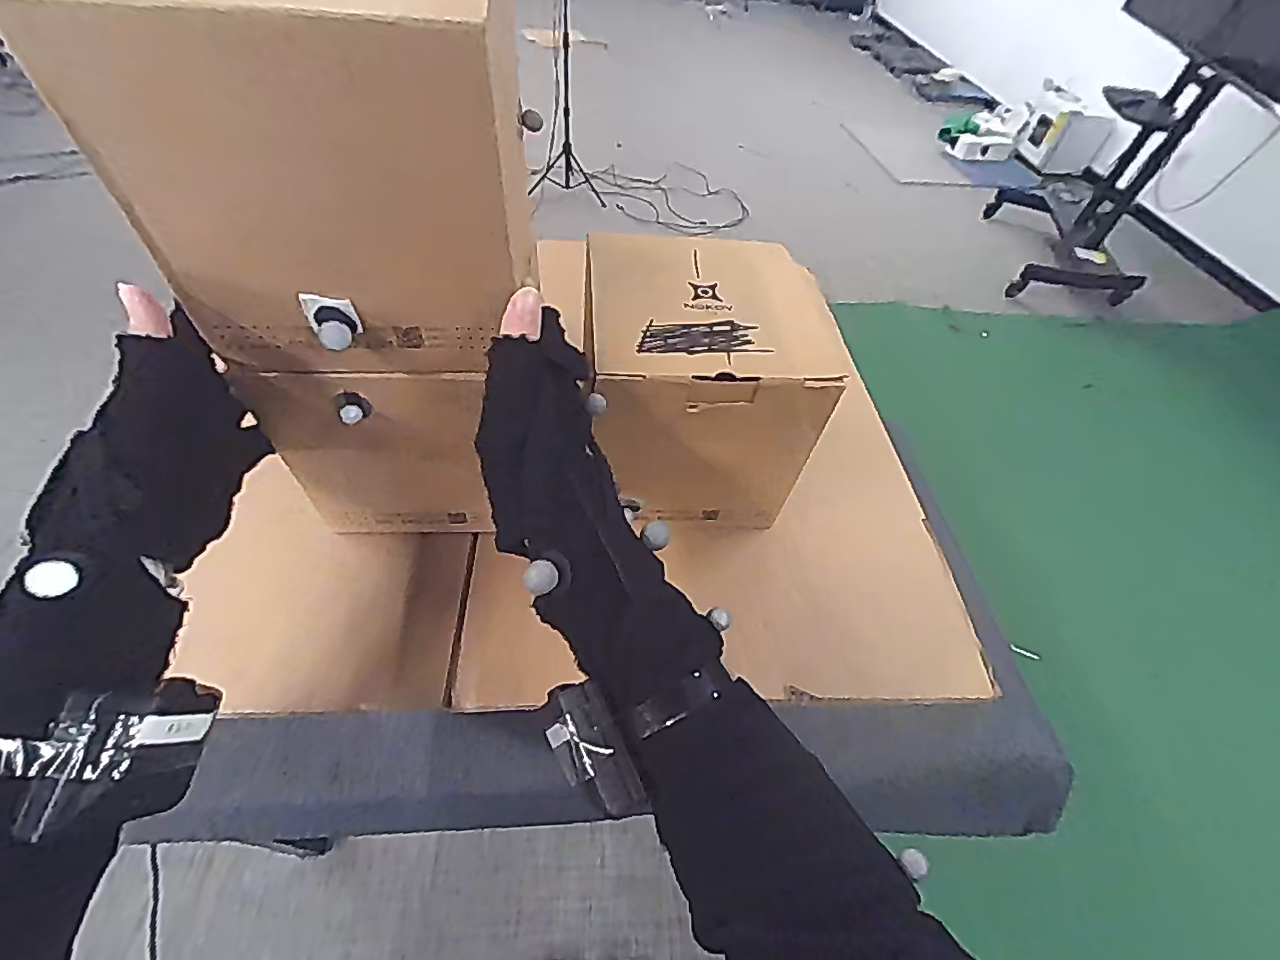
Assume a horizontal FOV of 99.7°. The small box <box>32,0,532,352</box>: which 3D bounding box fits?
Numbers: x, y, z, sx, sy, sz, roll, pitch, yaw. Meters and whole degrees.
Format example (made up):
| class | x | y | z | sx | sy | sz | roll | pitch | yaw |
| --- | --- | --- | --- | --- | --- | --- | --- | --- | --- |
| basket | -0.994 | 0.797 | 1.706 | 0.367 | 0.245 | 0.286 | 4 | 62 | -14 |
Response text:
| class | x | y | z | sx | sy | sz | roll | pitch | yaw |
| --- | --- | --- | --- | --- | --- | --- | --- | --- | --- |
| small box | -0.151 | -0.193 | 0.301 | 0.168 | 0.176 | 0.179 | -3 | 53 | -8 |
